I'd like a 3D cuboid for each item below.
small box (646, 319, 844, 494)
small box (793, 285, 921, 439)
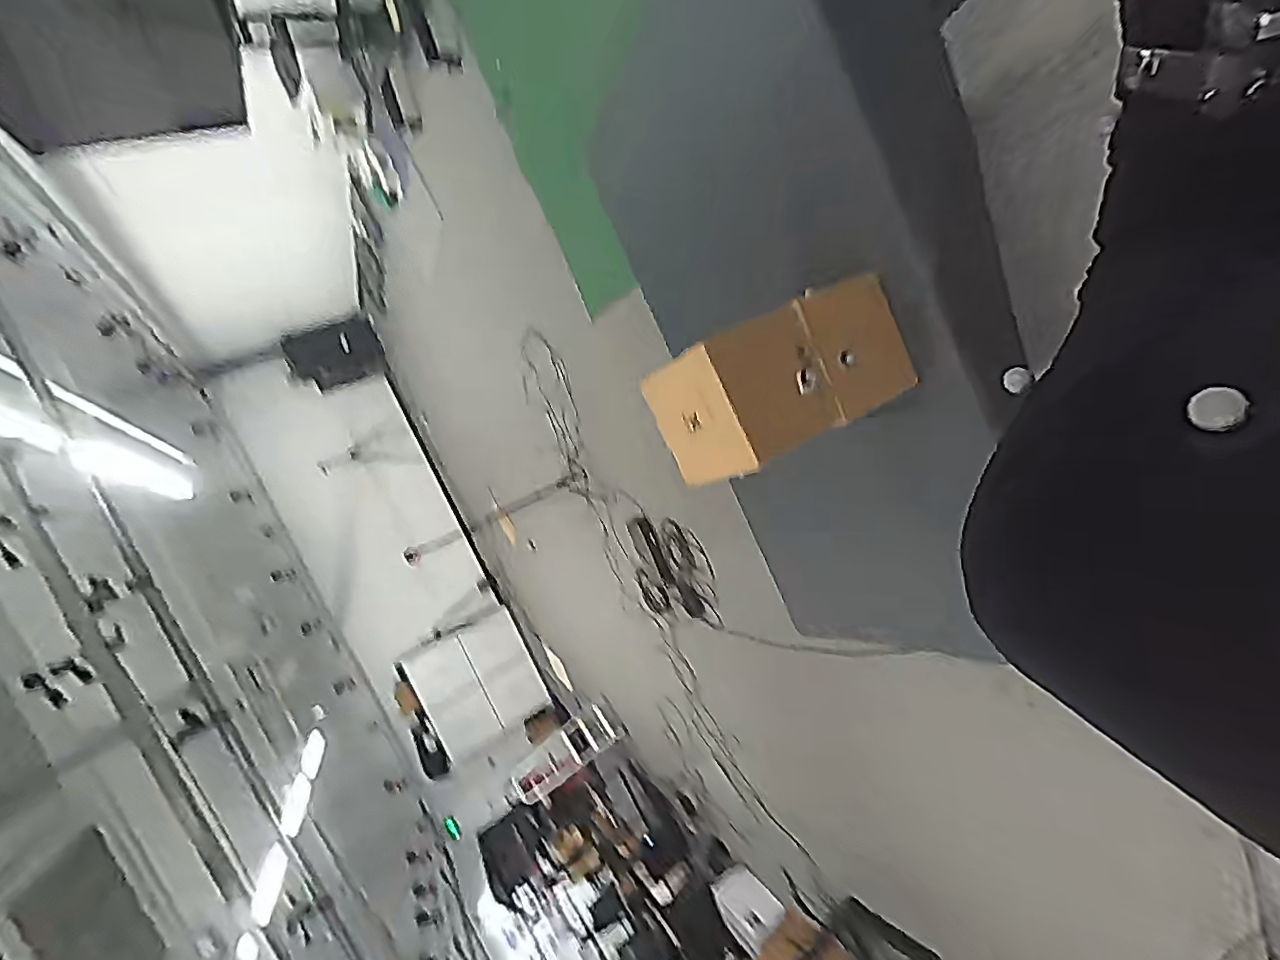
[{"bbox_3d":[0.143,-0.098,0.754,0.168,0.176,0.179,63,153,-2],"label":"small box"},{"bbox_3d":[0.289,-0.169,0.827,0.168,0.176,0.179,-18,97,63],"label":"small box"}]
